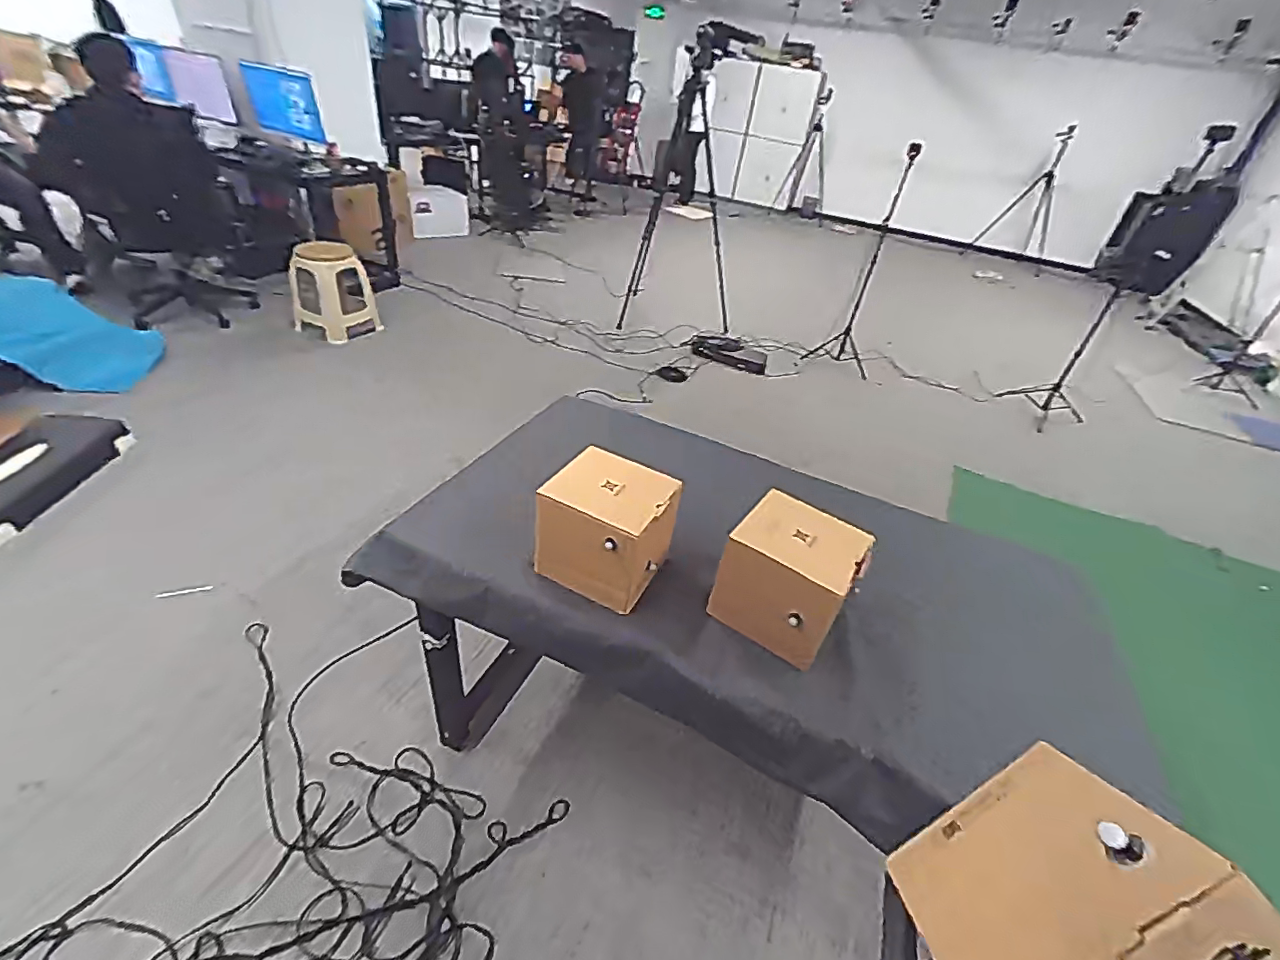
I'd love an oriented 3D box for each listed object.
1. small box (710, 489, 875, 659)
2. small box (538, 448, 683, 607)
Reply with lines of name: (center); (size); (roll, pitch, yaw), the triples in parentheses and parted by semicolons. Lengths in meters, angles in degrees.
small box: (0.233, 0.148, 0.844); (0.179, 0.176, 0.168); (26, 38, 25)
small box: (-0.052, 0.077, 0.883); (0.179, 0.176, 0.168); (22, 36, 17)
